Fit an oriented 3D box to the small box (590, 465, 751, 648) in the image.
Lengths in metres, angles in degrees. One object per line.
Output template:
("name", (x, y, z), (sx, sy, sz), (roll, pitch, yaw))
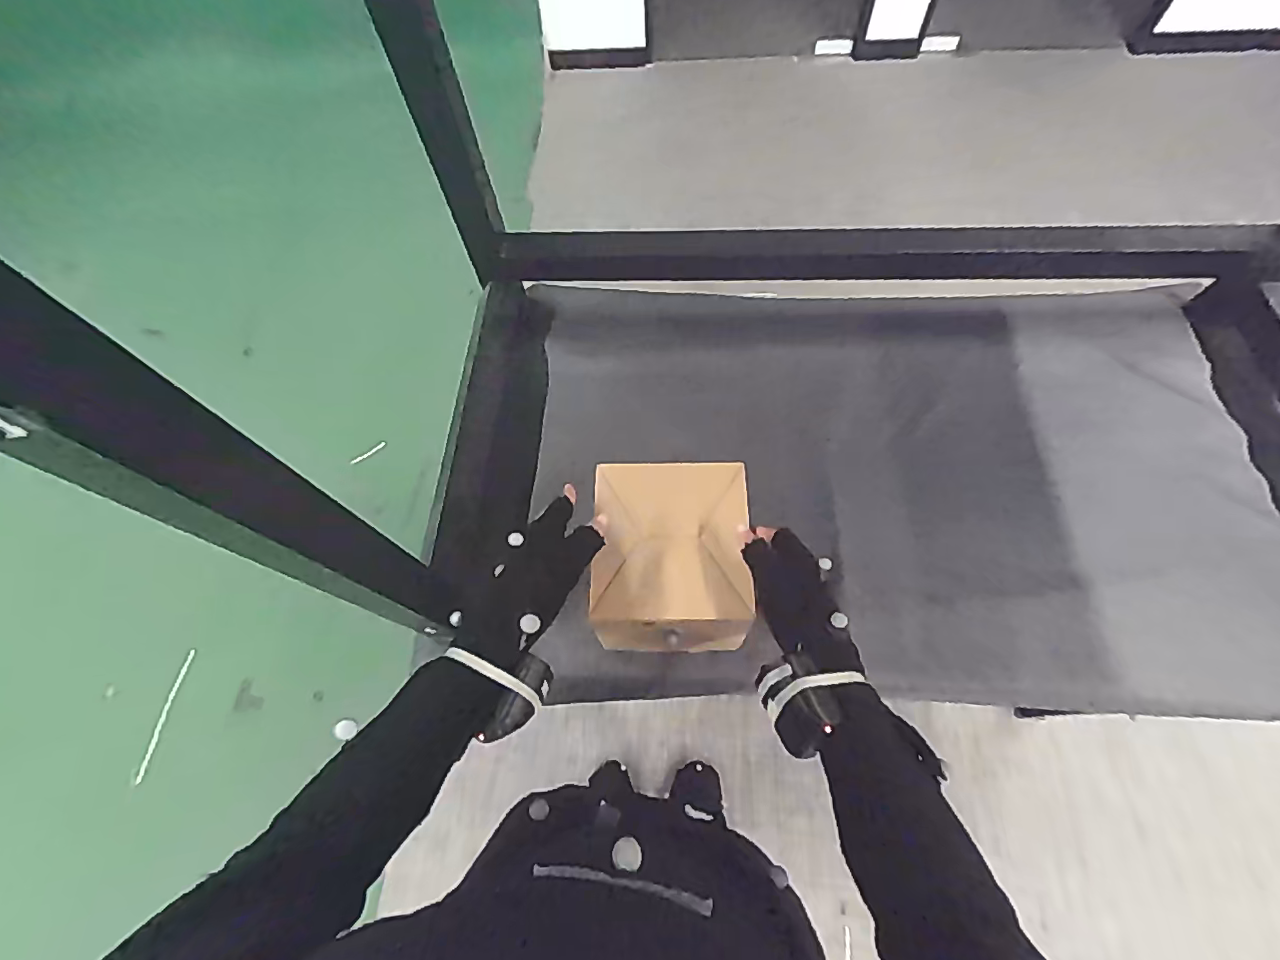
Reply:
("small box", (0.034, 0.094, 0.638), (0.168, 0.176, 0.179), (-1, 62, 3))
